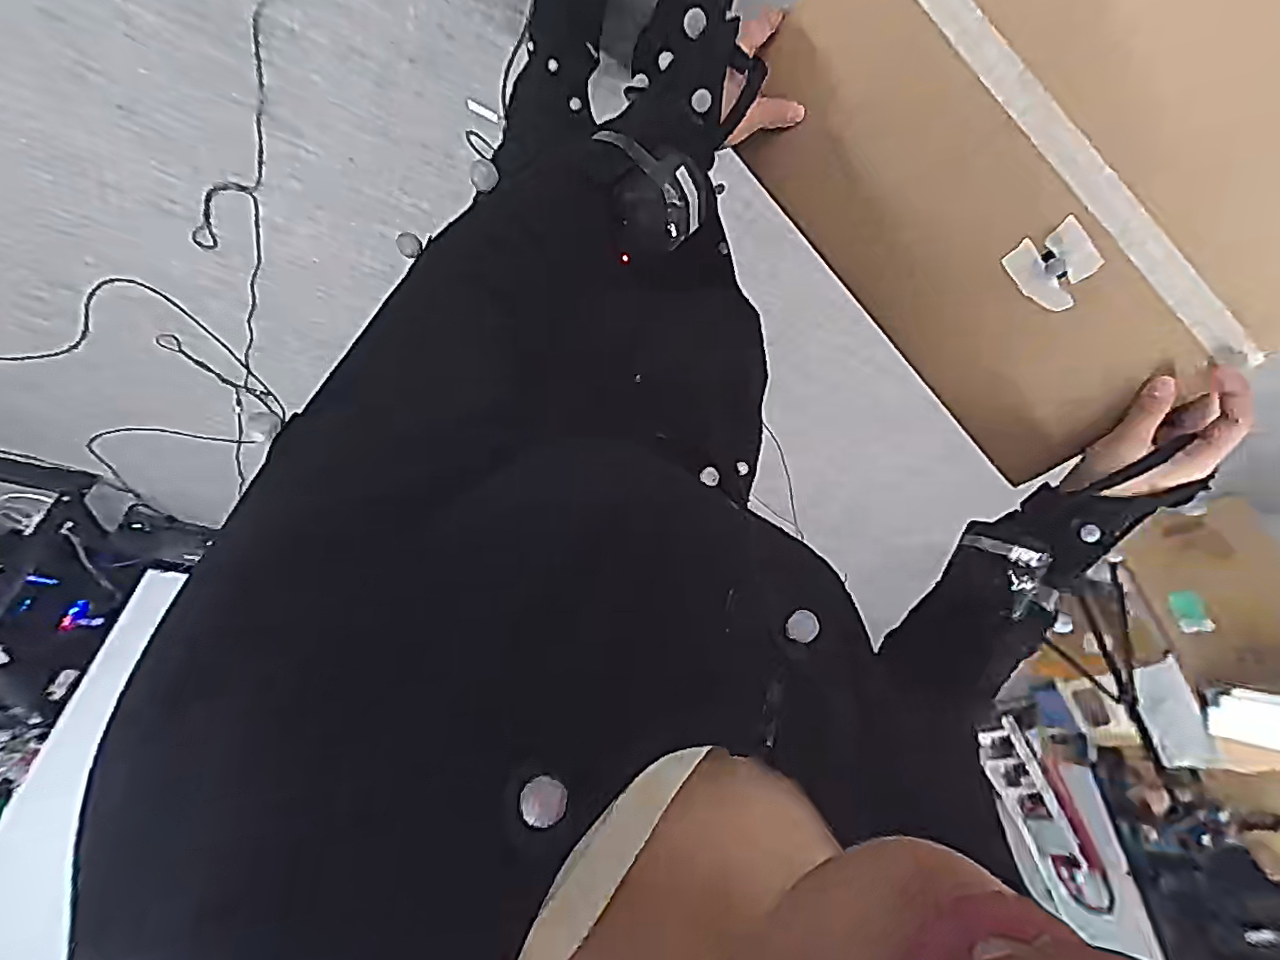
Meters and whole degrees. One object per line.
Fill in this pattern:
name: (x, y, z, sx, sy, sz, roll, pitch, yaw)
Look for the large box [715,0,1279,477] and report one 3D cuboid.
large box: (0.343, -0.285, 0.511, 0.408, 0.320, 0.320, 48, 123, -2)
